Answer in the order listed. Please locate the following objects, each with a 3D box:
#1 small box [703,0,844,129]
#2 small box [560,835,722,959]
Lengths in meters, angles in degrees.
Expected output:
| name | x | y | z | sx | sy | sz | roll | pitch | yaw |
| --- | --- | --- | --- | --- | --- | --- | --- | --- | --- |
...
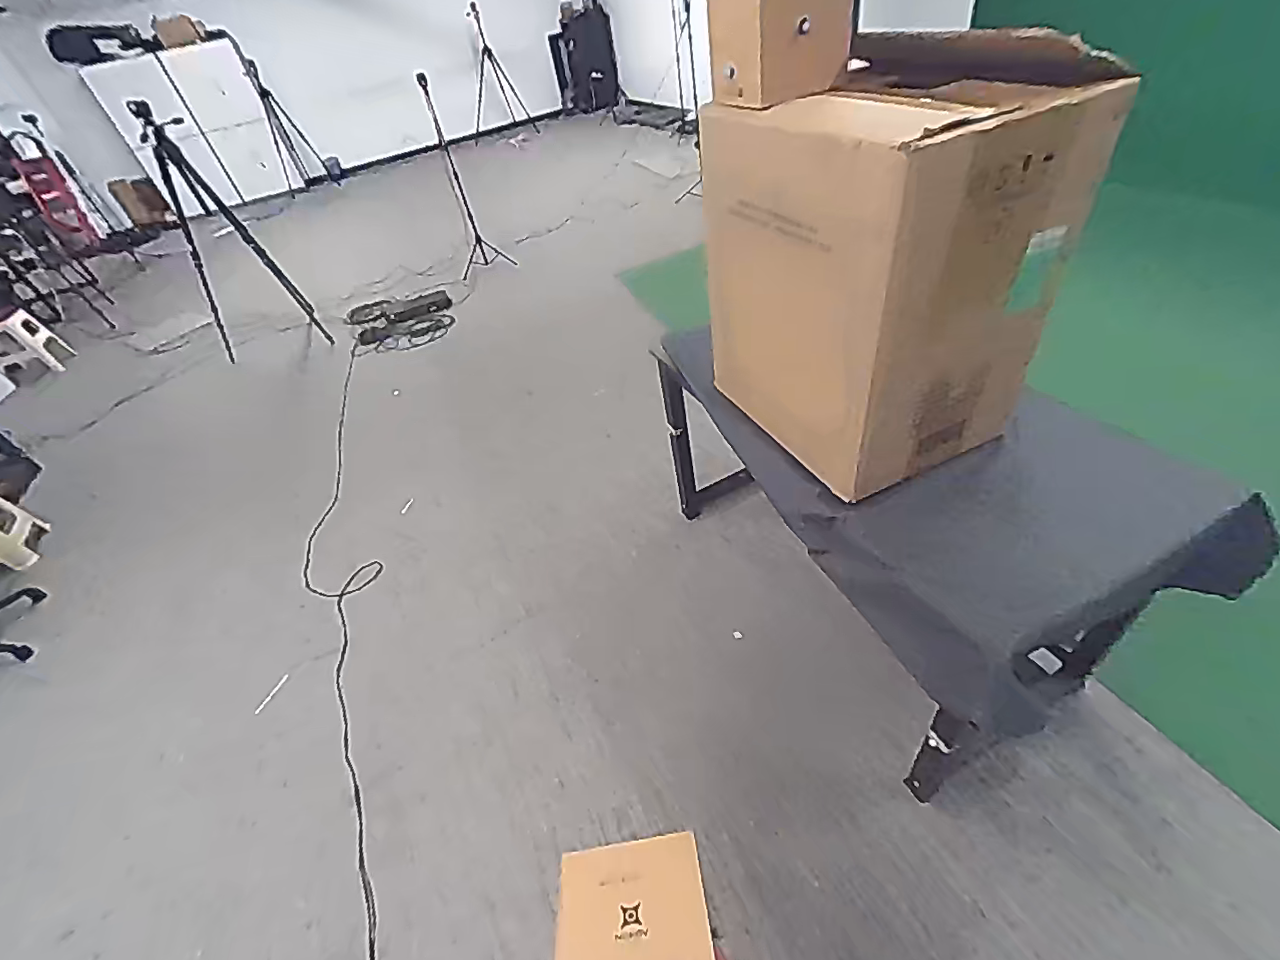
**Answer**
| name | x | y | z | sx | sy | sz | roll | pitch | yaw |
| --- | --- | --- | --- | --- | --- | --- | --- | --- | --- |
| small box | 0.228 | -0.736 | 0.944 | 0.179 | 0.176 | 0.168 | -23 | 41 | -11 |
| small box | 0.009 | 0.549 | 0.602 | 0.168 | 0.176 | 0.179 | -10 | 17 | -2 |
